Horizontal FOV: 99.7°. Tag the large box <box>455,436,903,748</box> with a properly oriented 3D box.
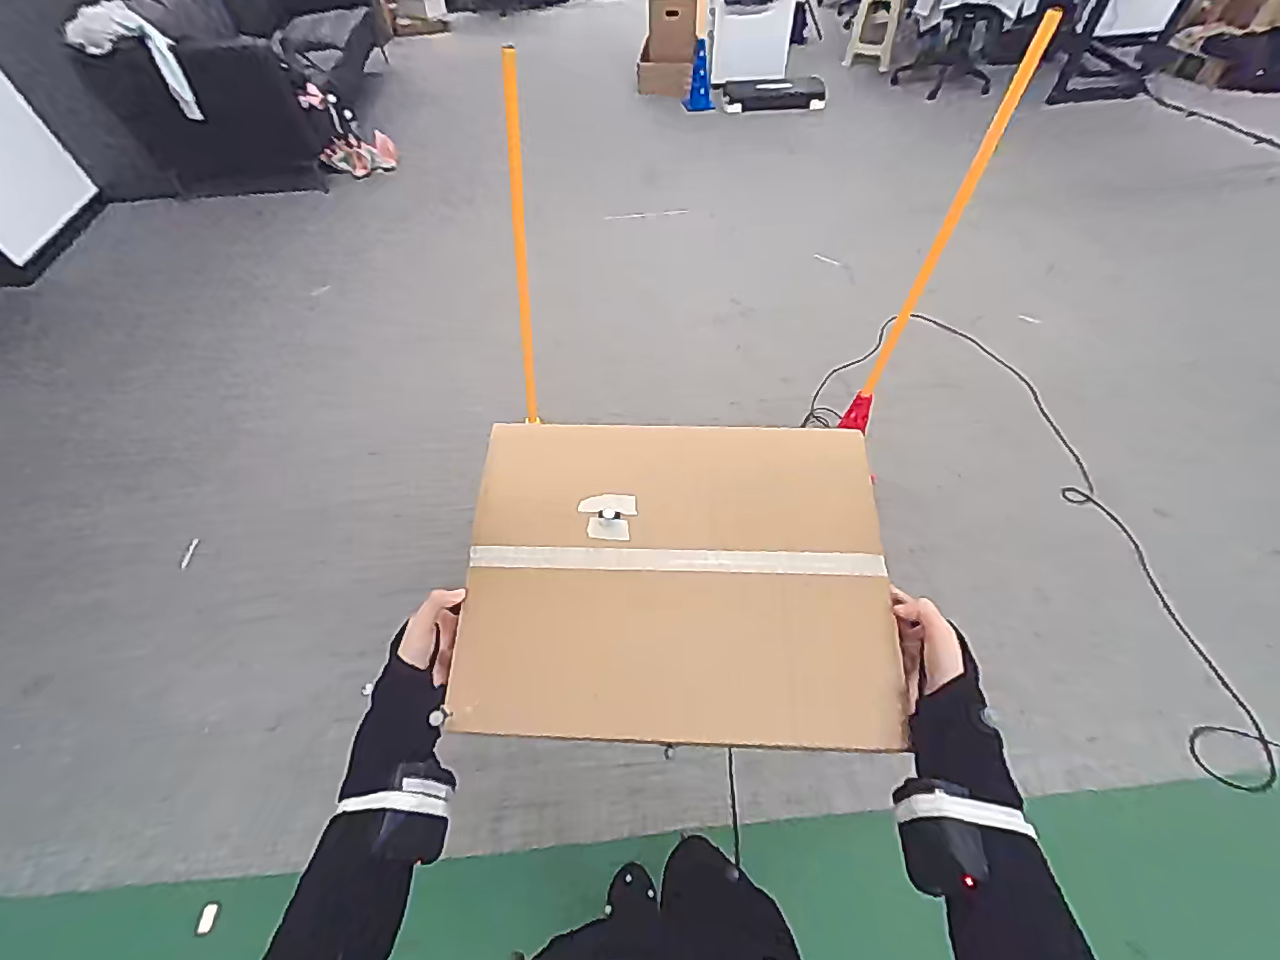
[{"bbox_3d":[0.043,0.155,0.674,0.408,0.320,0.320,0,63,4],"label":"large box"}]
